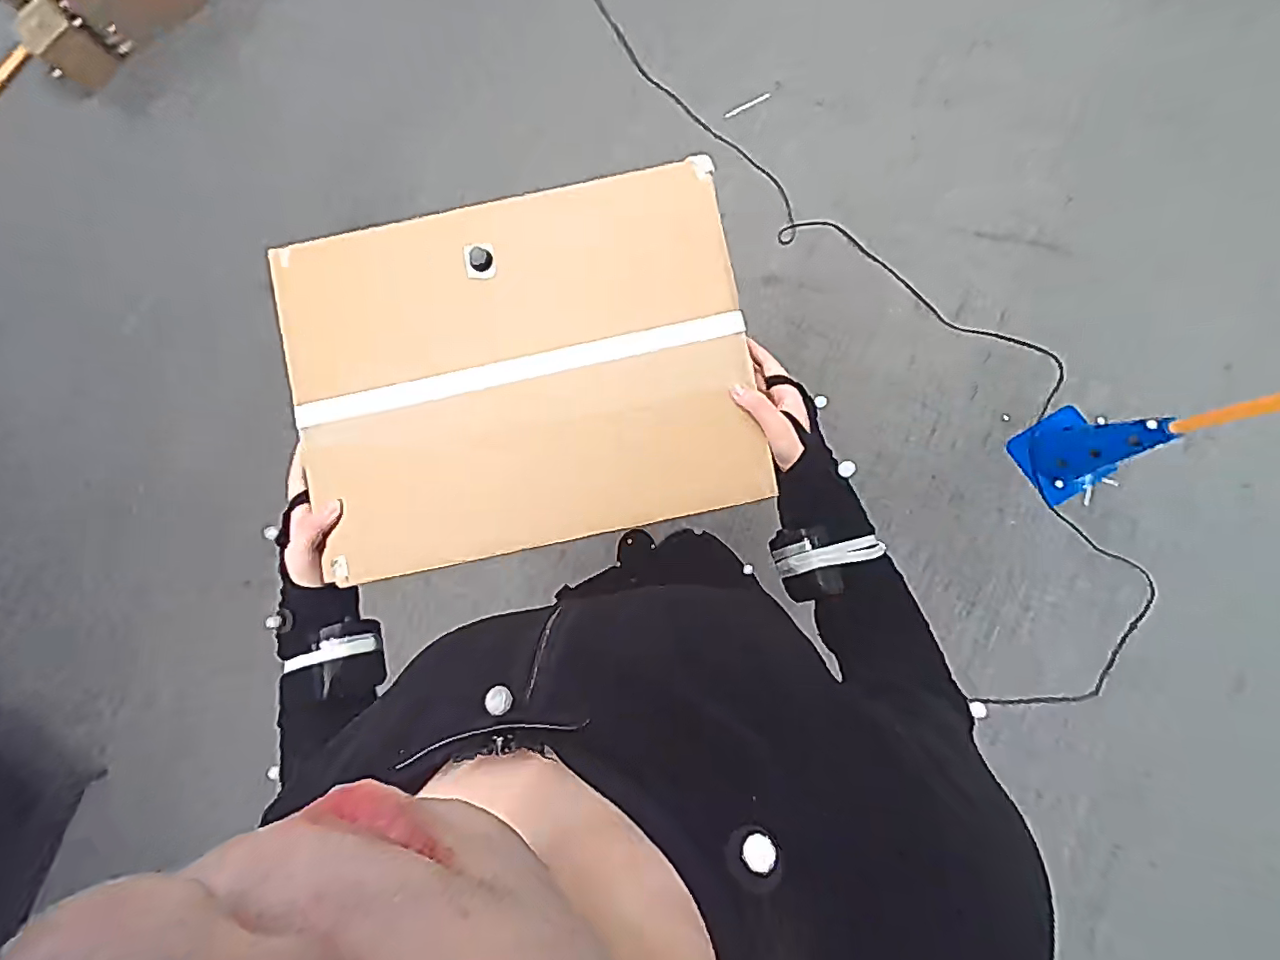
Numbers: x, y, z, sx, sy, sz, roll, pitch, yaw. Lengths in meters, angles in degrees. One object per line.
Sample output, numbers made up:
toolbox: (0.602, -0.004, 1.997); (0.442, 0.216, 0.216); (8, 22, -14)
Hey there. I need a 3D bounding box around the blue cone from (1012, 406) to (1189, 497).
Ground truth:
blue cone: (1.053, -0.087, 1.206); (0.192, 0.380, 0.193); (-35, 82, 4)
